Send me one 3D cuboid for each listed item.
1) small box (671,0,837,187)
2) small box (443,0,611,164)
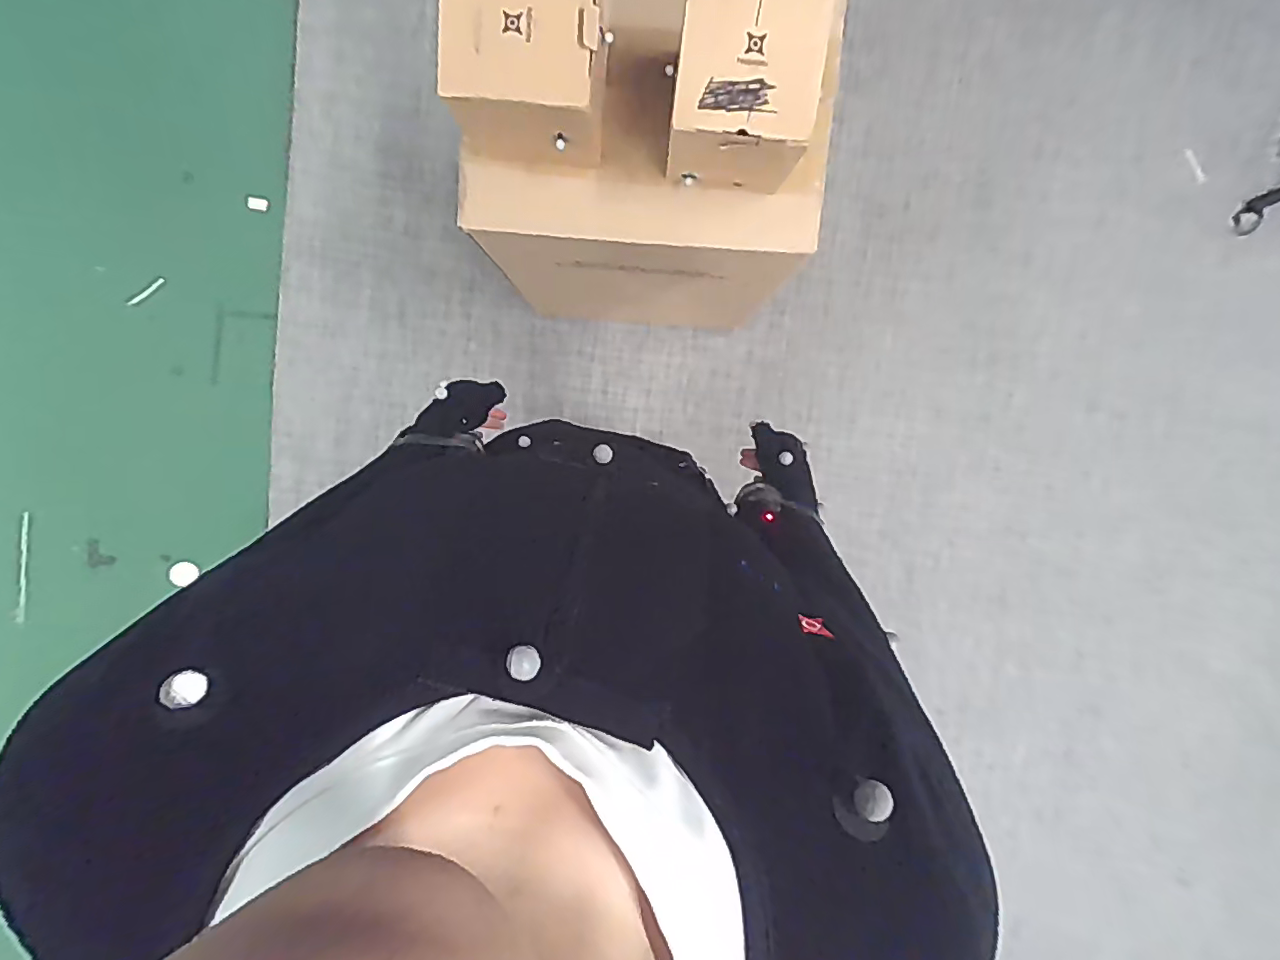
[{"bbox_3d":[0.131,-0.497,0.685,0.168,0.176,0.179,7,100,0],"label":"small box"},{"bbox_3d":[-0.133,-0.526,0.689,0.179,0.176,0.168,4,98,2],"label":"small box"}]
